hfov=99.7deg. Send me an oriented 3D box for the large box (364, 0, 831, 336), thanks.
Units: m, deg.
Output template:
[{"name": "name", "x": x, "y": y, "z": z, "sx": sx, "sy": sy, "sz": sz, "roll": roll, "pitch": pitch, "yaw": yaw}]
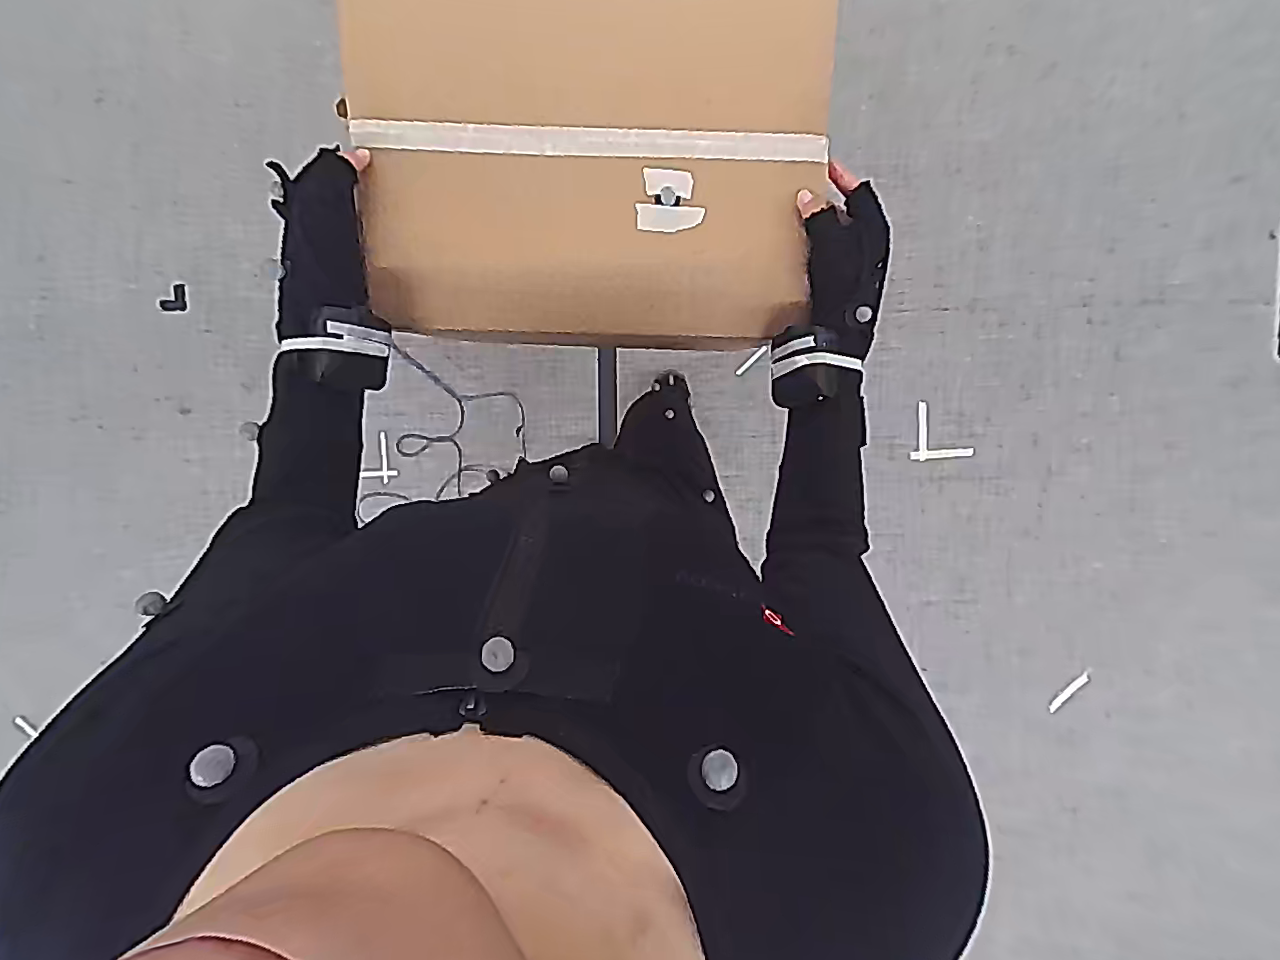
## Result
[{"name": "large box", "x": -0.042, "y": -0.335, "z": 0.626, "sx": 0.408, "sy": 0.320, "sz": 0.320, "roll": 1, "pitch": 103, "yaw": -2}]
